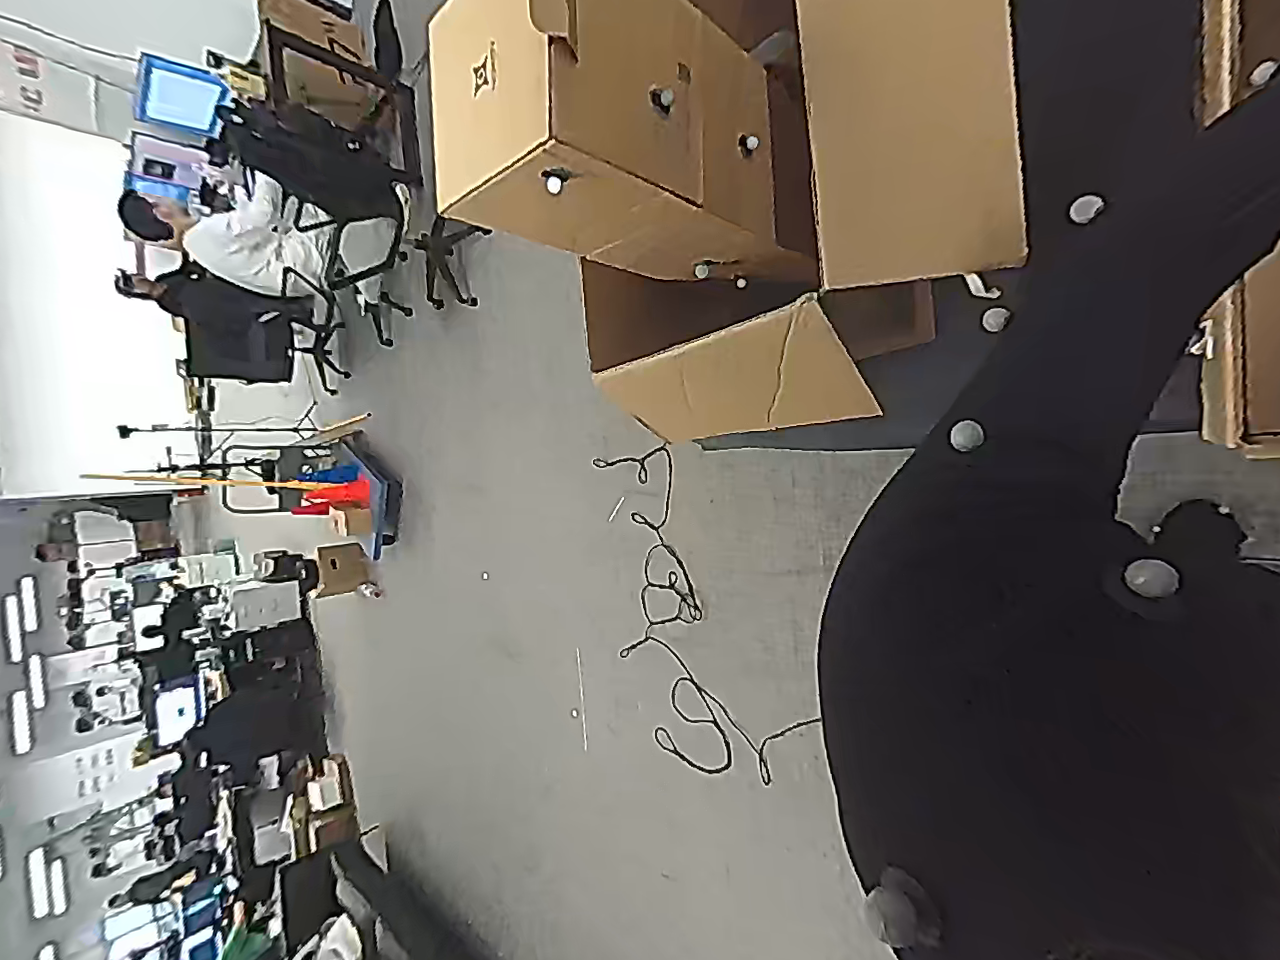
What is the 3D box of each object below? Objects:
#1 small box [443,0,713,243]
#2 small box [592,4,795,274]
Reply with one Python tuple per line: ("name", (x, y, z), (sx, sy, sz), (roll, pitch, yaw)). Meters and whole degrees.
("small box", (-0.055, -0.331, 0.482), (0.179, 0.176, 0.168), (3, 96, 43))
("small box", (0.058, -0.346, 0.596), (0.168, 0.176, 0.179), (2, 97, 44))
